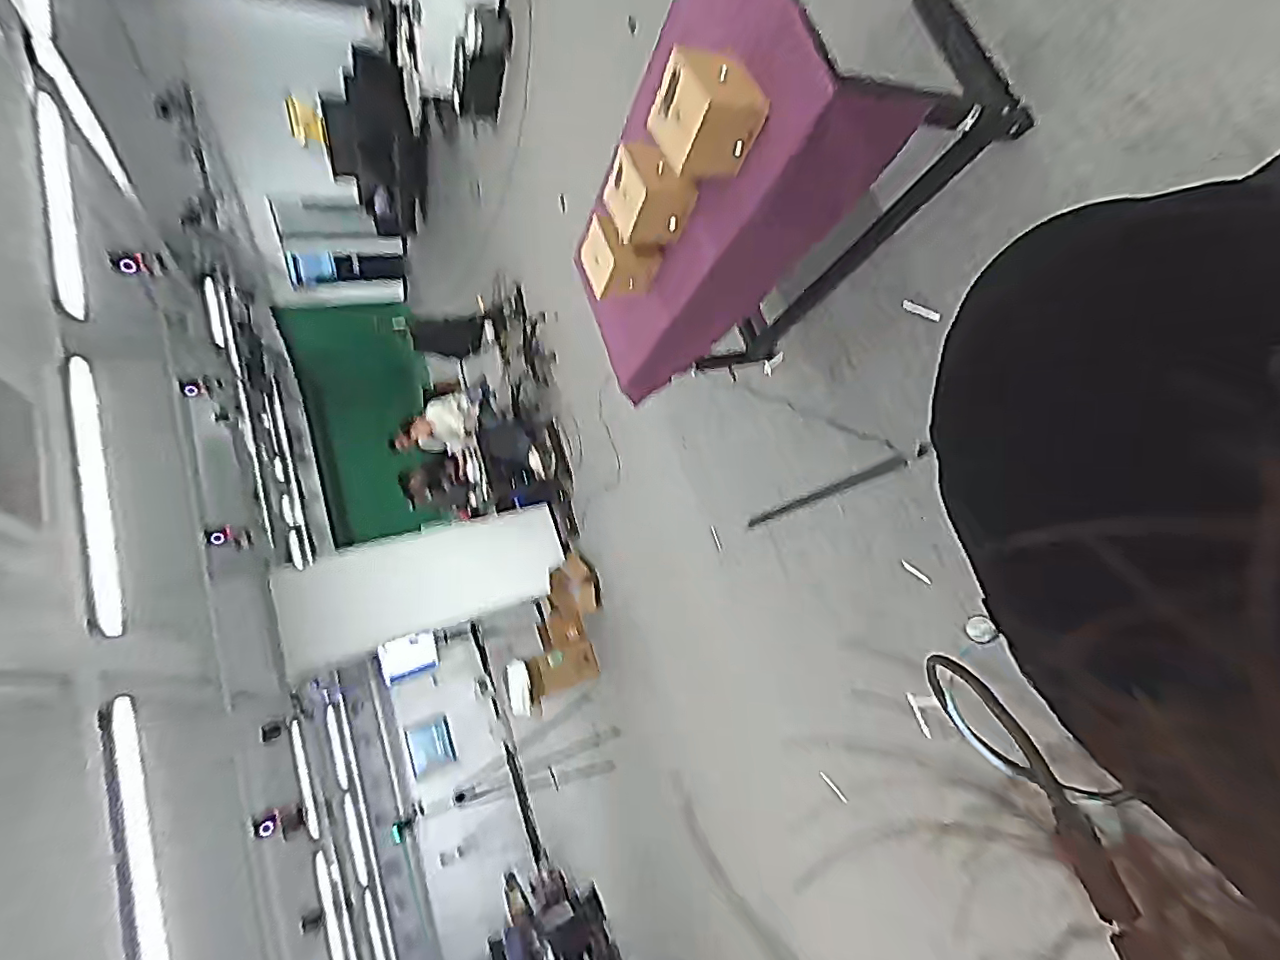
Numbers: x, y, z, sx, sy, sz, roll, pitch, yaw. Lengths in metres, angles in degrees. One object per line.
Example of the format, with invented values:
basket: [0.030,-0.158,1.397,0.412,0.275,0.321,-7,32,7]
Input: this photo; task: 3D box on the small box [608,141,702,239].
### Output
small box: [0.039,-0.781,1.472,0.179,0.176,0.168,68,152,16]

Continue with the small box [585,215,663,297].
small box: [-0.050,-0.696,1.680,0.168,0.176,0.179,-43,63,60]
